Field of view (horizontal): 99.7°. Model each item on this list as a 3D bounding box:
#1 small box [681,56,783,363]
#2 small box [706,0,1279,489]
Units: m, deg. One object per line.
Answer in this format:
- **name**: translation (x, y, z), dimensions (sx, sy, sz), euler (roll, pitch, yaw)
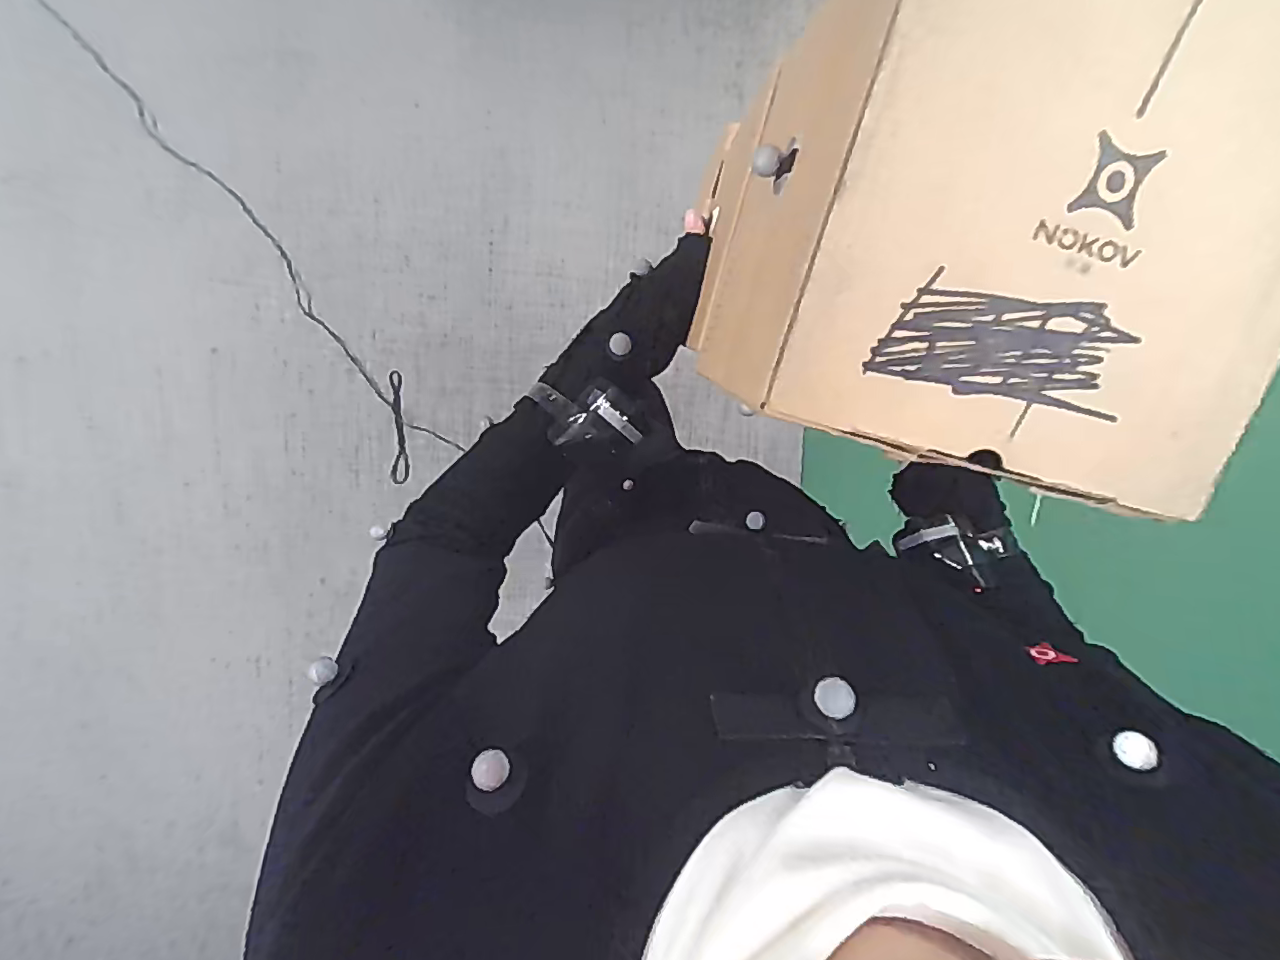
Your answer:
- **small box**: translation (0.137, -0.161, 0.393), dimensions (0.179, 0.176, 0.168), euler (9, 106, -5)
- **small box**: translation (0.136, -0.117, 0.251), dimensions (0.168, 0.176, 0.179), euler (13, 104, -6)
